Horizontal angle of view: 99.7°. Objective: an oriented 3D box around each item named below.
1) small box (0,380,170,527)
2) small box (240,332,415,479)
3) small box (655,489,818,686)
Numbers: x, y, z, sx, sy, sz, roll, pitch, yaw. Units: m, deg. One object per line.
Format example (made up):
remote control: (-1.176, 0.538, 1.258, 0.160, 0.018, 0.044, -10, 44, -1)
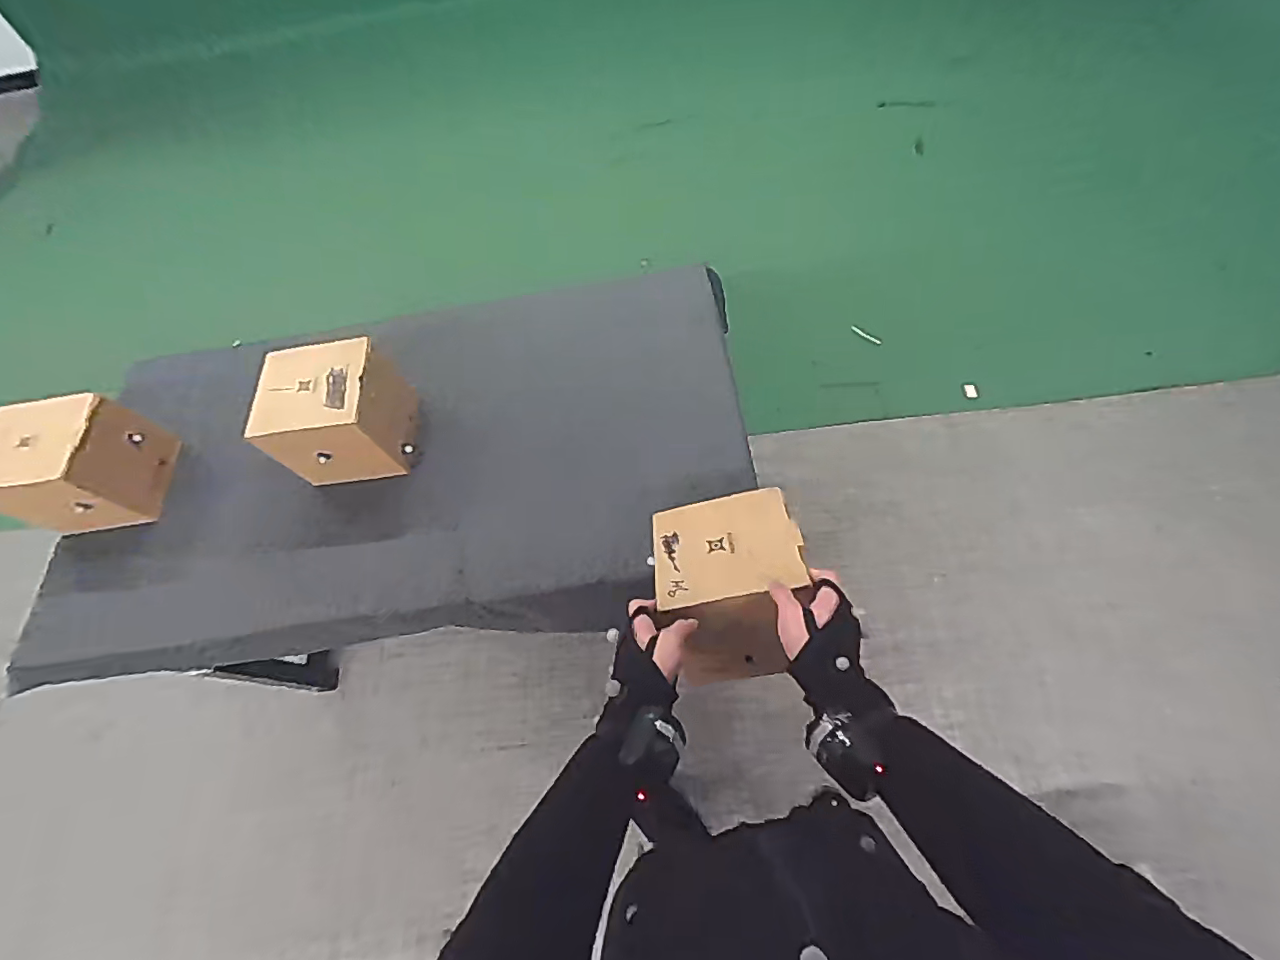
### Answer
small box: (-0.937, -0.037, 0.885, 0.179, 0.176, 0.168, -9, 61, 2)
small box: (-0.492, -0.116, 0.883, 0.179, 0.176, 0.168, -6, 62, 3)
small box: (0.122, 0.139, 0.693, 0.179, 0.176, 0.168, -12, 36, 8)
